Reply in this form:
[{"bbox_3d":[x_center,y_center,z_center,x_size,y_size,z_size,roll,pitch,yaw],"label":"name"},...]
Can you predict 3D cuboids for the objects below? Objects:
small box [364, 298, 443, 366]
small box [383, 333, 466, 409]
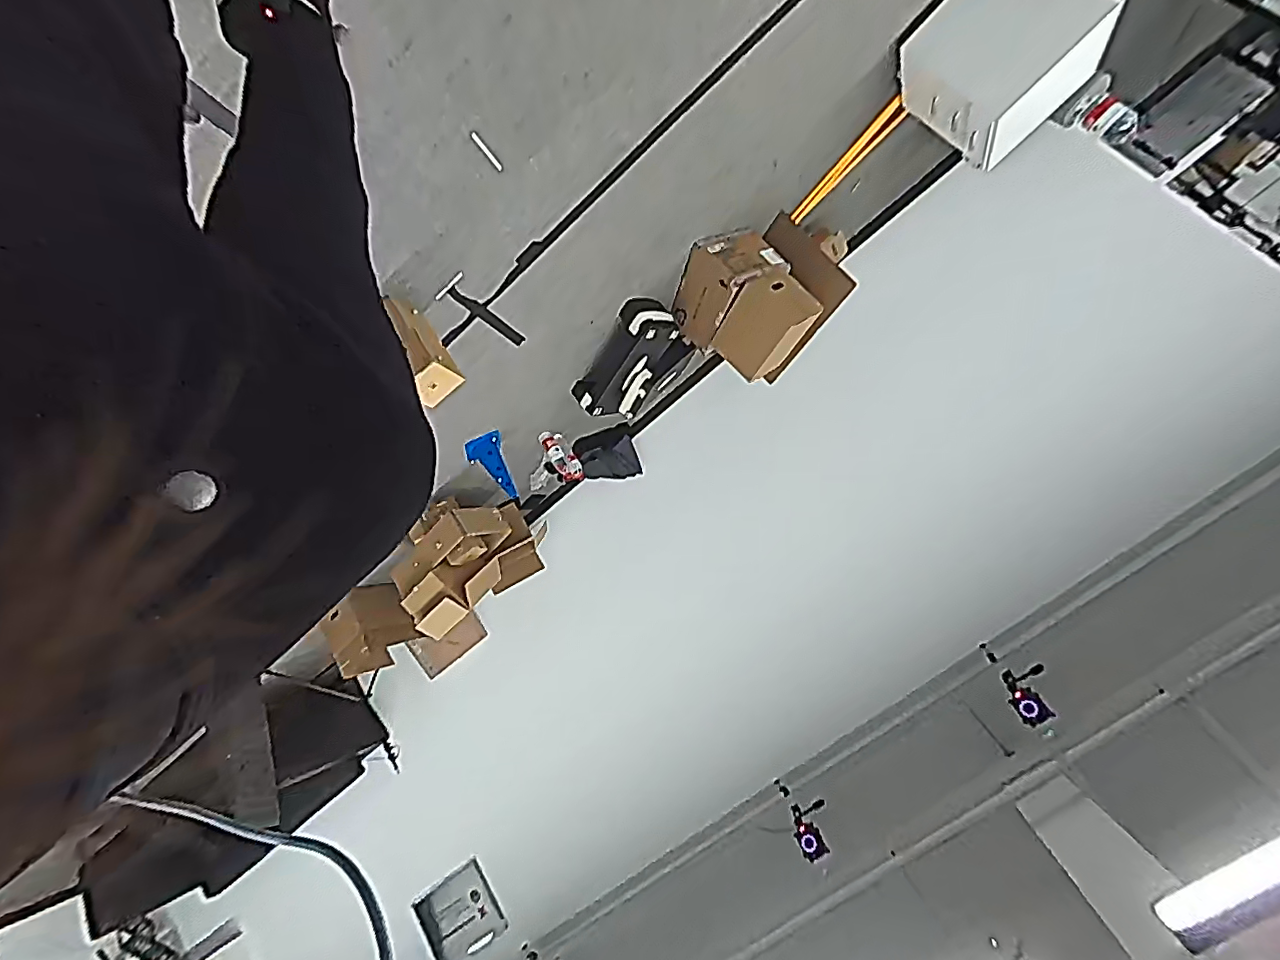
[{"bbox_3d":[-0.848,-0.506,1.921,0.179,0.176,0.168,-40,162,12],"label":"small box"},{"bbox_3d":[-0.750,-0.380,1.882,0.168,0.176,0.179,-38,161,8],"label":"small box"}]
